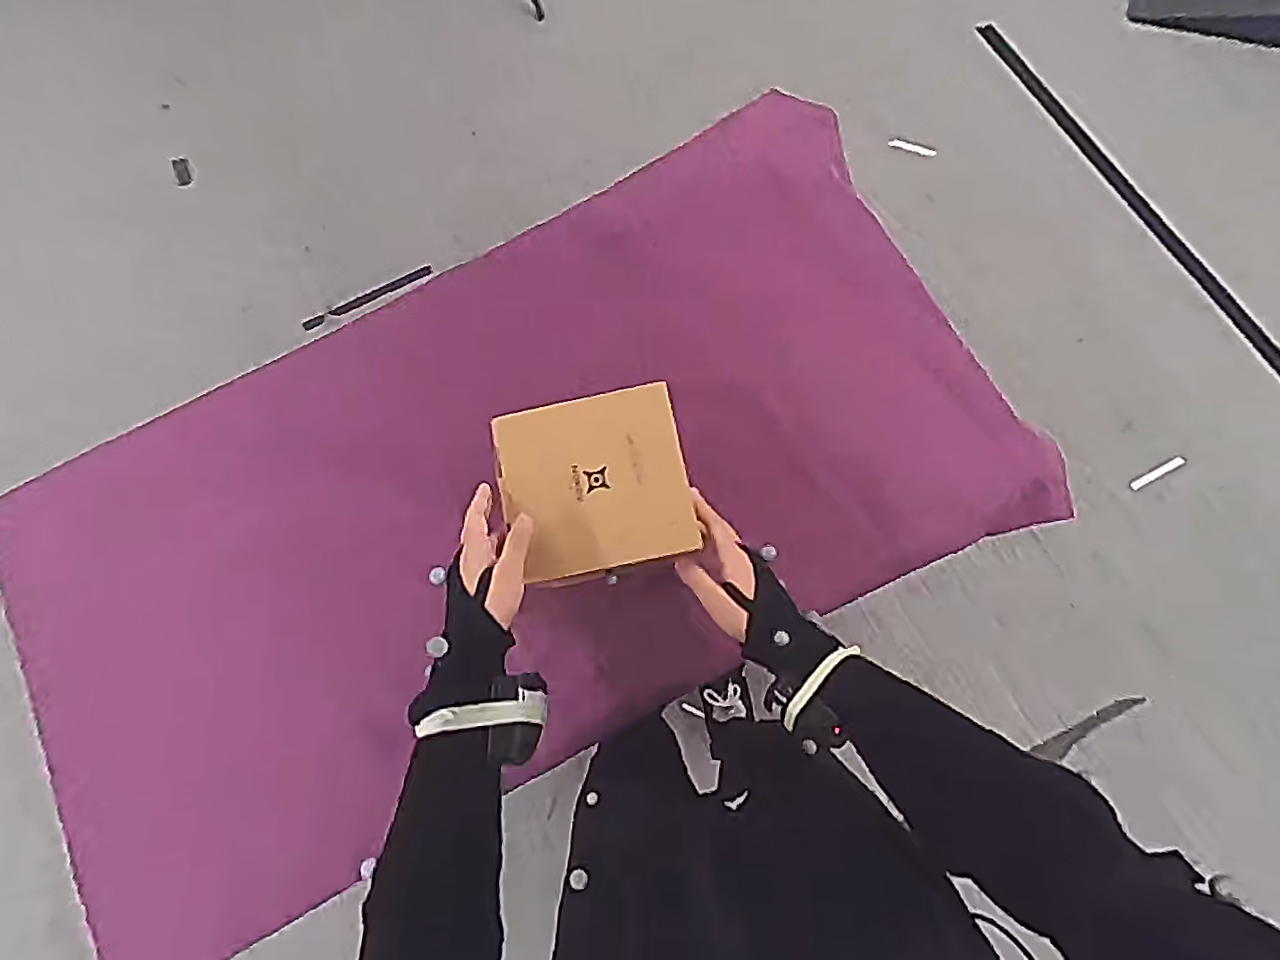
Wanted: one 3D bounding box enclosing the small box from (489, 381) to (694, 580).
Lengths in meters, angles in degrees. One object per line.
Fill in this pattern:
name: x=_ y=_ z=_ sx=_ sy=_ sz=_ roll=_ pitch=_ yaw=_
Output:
small box: x=-0.043 y=0.013 z=0.586 sx=0.179 sy=0.176 sz=0.168 roll=-12 pitch=79 yaw=1
